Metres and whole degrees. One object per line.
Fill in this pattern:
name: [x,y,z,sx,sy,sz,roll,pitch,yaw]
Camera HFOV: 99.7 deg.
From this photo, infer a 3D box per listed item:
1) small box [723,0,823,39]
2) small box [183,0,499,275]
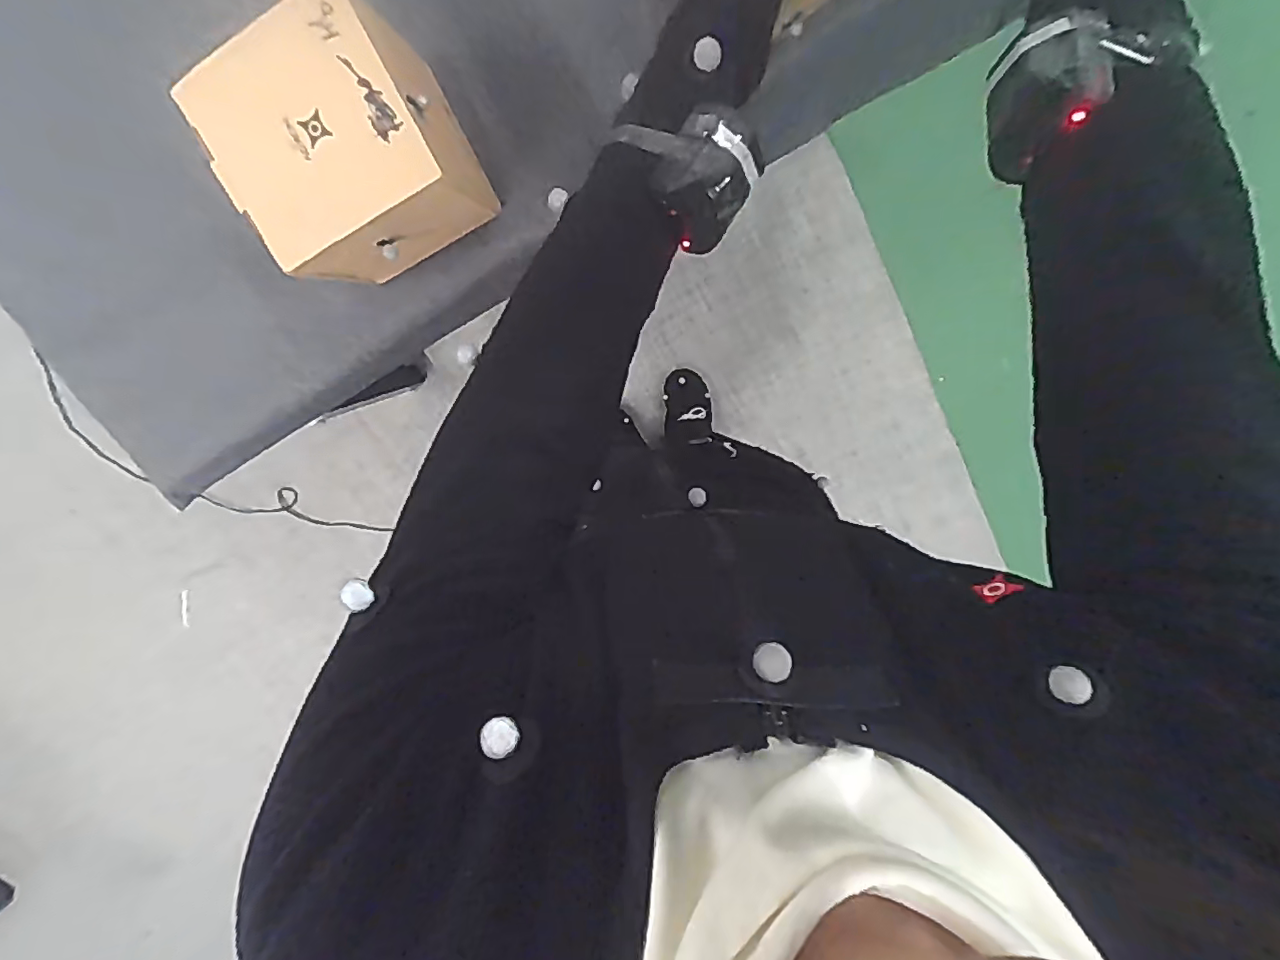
small box: [0.133,-0.518,0.445,0.168,0.176,0.179,-32,102,13]
small box: [-0.271,-0.320,0.536,0.179,0.176,0.168,-24,104,11]
